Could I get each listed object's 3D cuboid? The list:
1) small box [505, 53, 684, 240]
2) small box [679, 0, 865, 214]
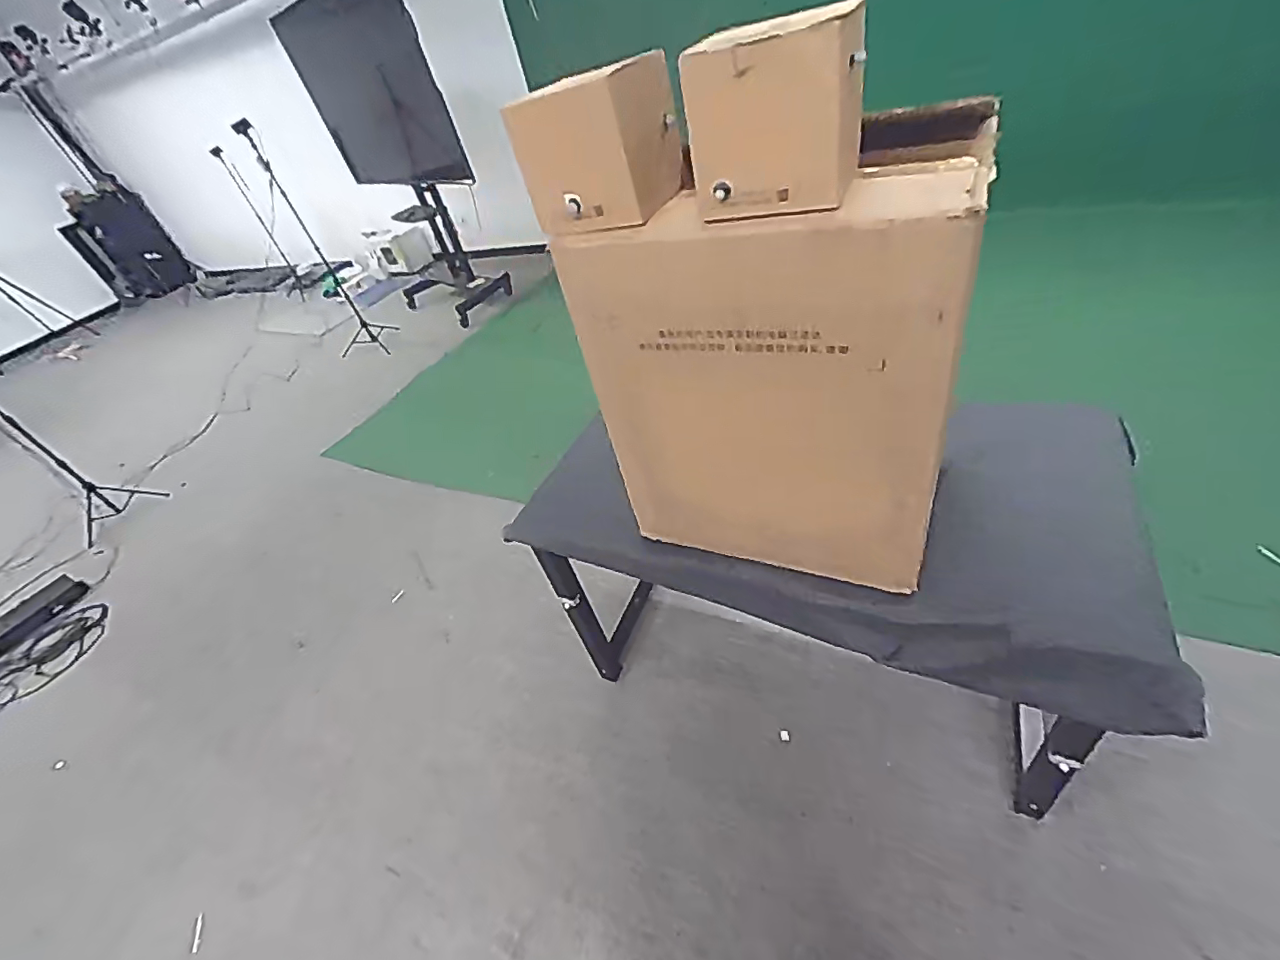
[{"bbox_3d":[-0.049,-0.458,0.755,0.168,0.176,0.179,5,46,28],"label":"small box"},{"bbox_3d":[0.164,-0.425,0.634,0.168,0.176,0.179,8,46,26],"label":"small box"}]
